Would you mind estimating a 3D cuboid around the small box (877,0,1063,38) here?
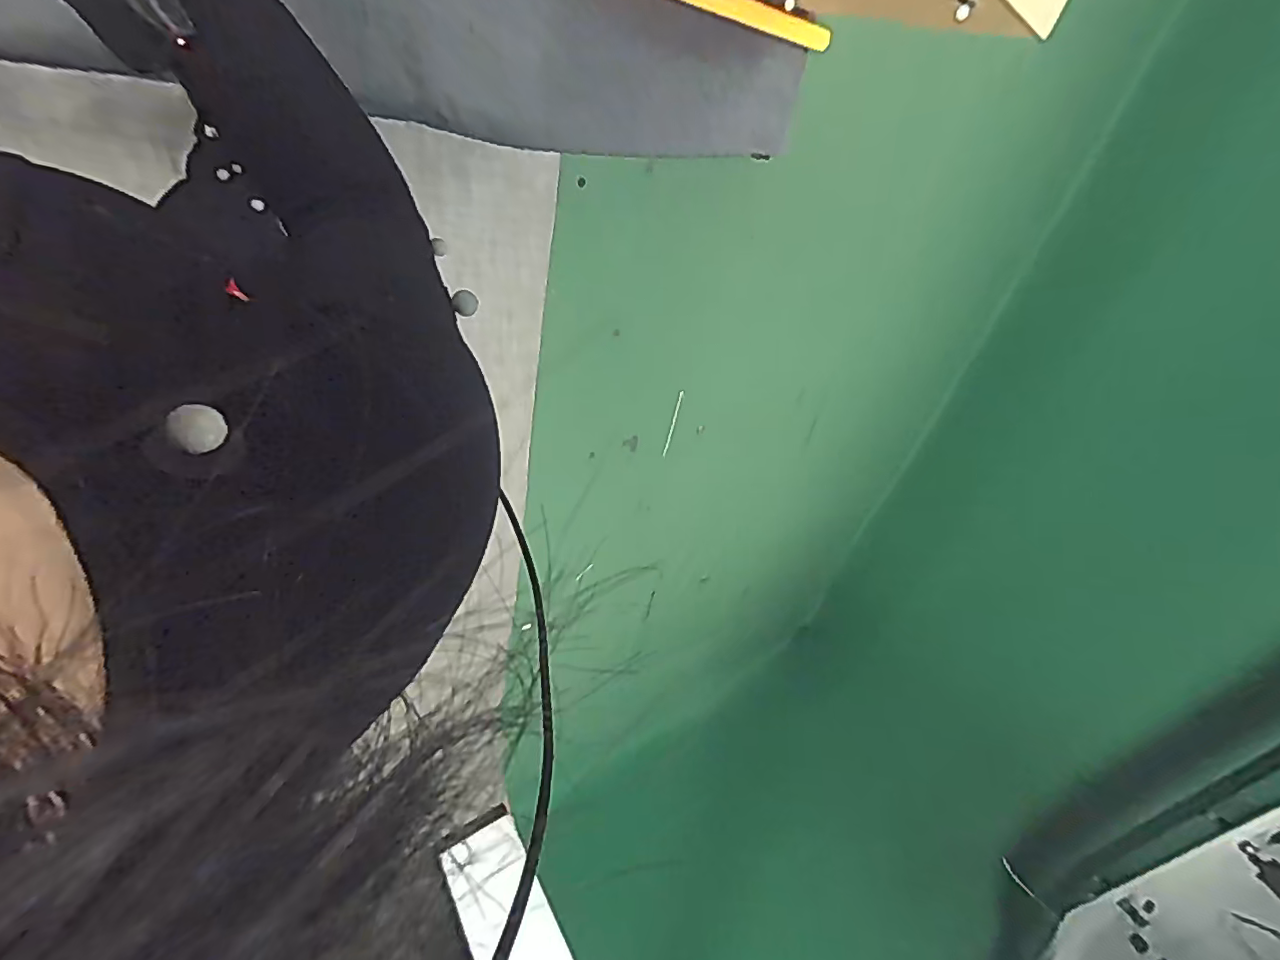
[{"bbox_3d":[0.322,-0.555,0.511,0.179,0.176,0.168,-10,133,-37],"label":"small box"}]
